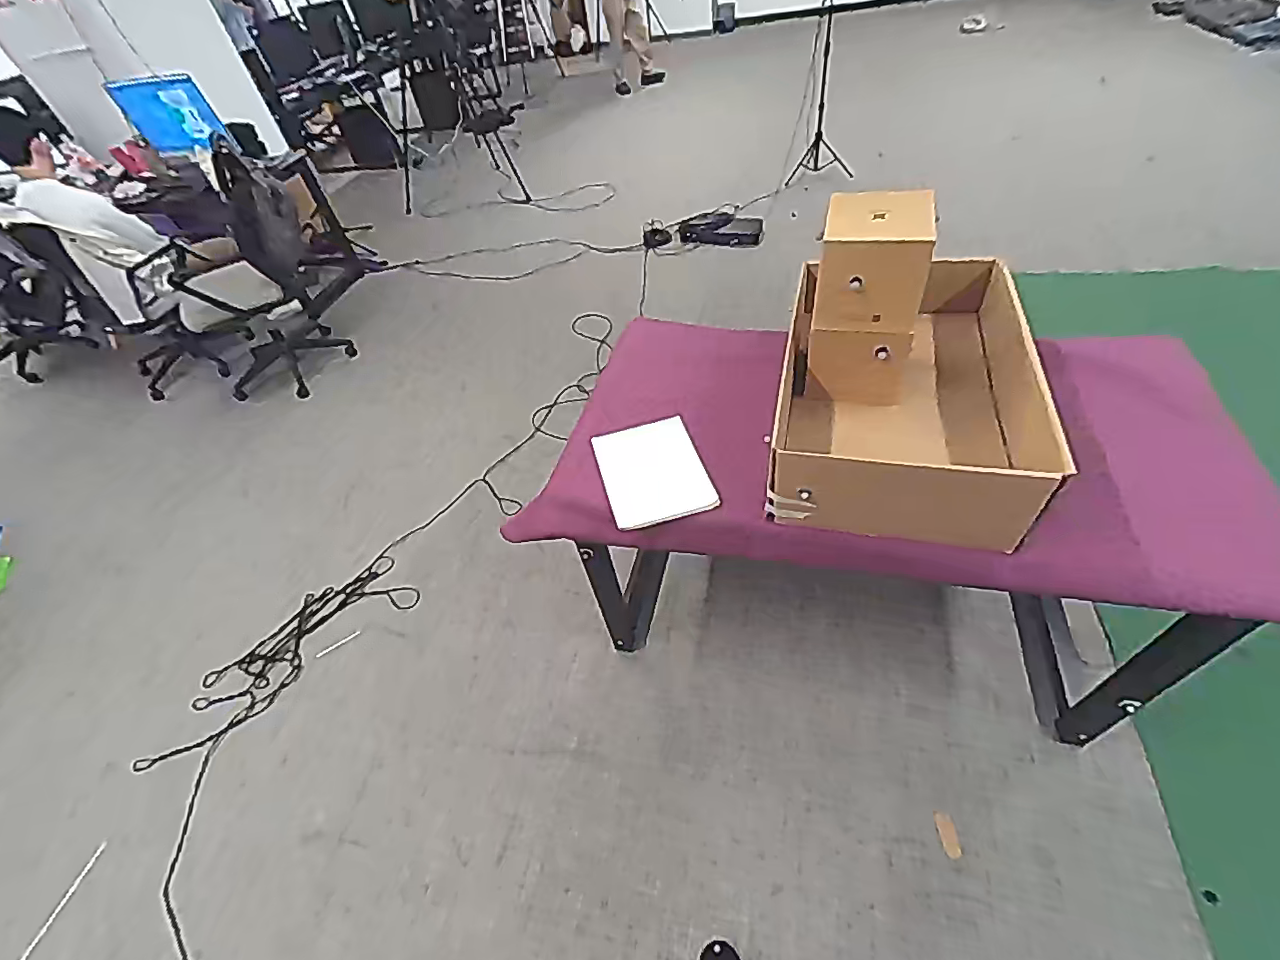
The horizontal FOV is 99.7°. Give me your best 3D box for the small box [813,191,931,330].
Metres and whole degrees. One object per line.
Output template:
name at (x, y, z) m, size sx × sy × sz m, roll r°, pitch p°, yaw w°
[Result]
small box at (0.400, -0.379, 0.945) m, size 0.168 × 0.176 × 0.179 m, roll 7°, pitch 51°, yaw 18°
